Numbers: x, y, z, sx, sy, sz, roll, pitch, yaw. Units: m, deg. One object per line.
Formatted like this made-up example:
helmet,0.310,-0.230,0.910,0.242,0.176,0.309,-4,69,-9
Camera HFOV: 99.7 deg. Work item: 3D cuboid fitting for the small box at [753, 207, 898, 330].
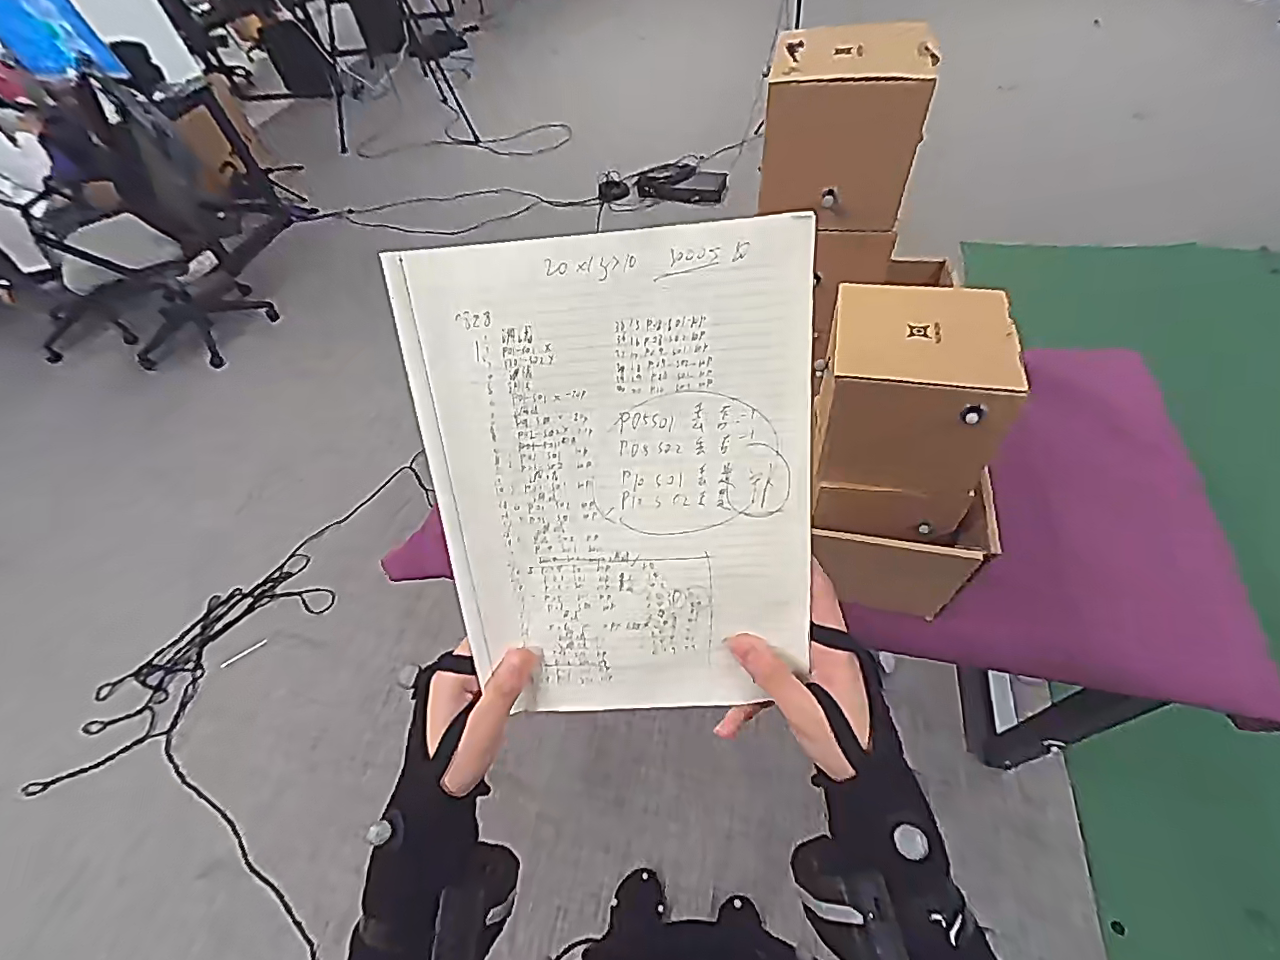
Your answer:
small box,0.270,-0.343,0.816,0.179,0.176,0.168,6,55,11

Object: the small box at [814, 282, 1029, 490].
small box,0.305,-0.106,0.626,0.179,0.176,0.168,8,53,13

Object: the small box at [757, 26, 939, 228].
small box,0.253,-0.443,0.687,0.179,0.176,0.168,8,55,12
